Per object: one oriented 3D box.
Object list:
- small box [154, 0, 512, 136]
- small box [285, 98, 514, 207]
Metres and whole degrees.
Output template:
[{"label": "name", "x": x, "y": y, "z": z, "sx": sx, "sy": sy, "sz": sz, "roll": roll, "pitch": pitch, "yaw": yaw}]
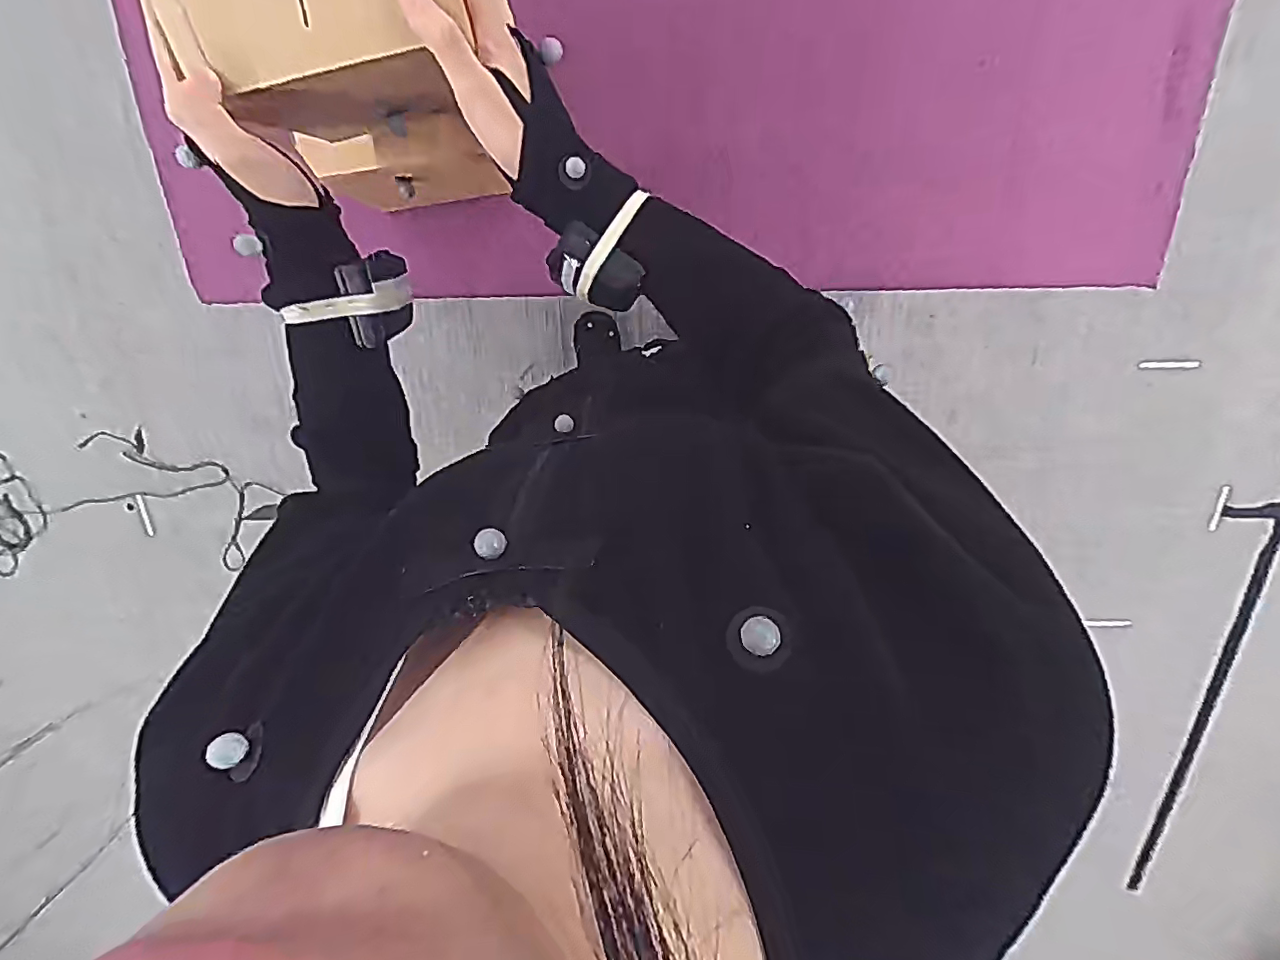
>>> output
[{"label": "small box", "x": -0.195, "y": -0.347, "z": 0.346, "sx": 0.168, "sy": 0.176, "sz": 0.179, "roll": -11, "pitch": 117, "yaw": 3}, {"label": "small box", "x": -0.236, "y": -0.388, "z": 0.549, "sx": 0.179, "sy": 0.176, "sz": 0.168, "roll": -7, "pitch": 108, "yaw": 3}]
